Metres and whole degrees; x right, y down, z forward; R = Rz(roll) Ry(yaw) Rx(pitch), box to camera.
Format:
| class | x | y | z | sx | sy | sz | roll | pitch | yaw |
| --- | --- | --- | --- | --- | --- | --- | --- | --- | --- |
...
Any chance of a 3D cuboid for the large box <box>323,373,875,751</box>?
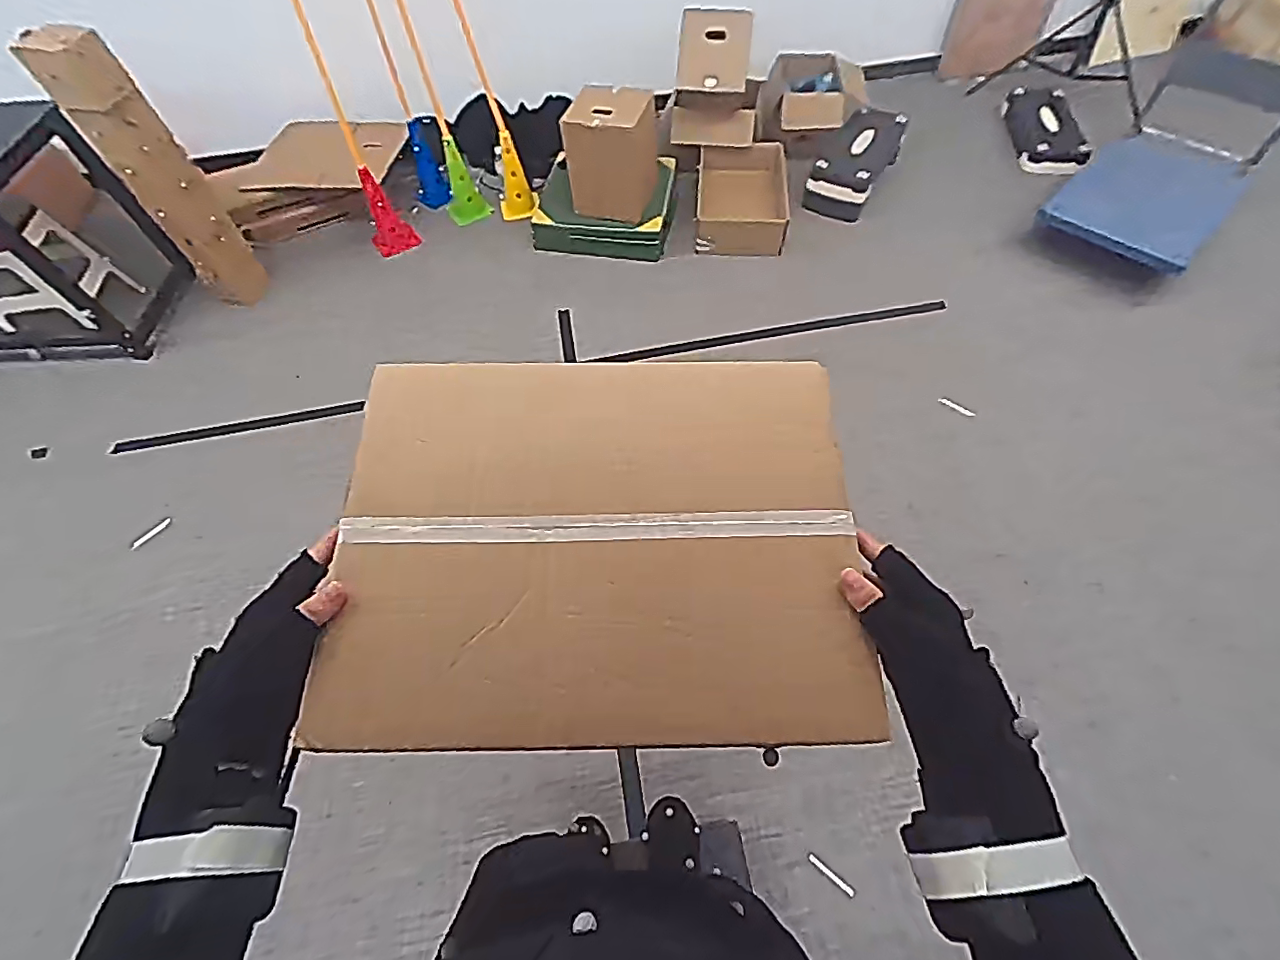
| class | x | y | z | sx | sy | sz | roll | pitch | yaw |
| --- | --- | --- | --- | --- | --- | --- | --- | --- | --- |
| large box | -0.030 | 0.102 | 0.578 | 0.408 | 0.320 | 0.320 | 0 | 66 | 0 |

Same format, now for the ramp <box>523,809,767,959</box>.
| class | x | y | z | sx | sy | sz | roll | pitch | yaw |
| --- | --- | --- | --- | --- | --- | --- | --- | --- | --- |
| ramp | 0.071 | 1.249 | 1.050 | 0.509 | 0.206 | 0.991 | -11 | 60 | -6 |
